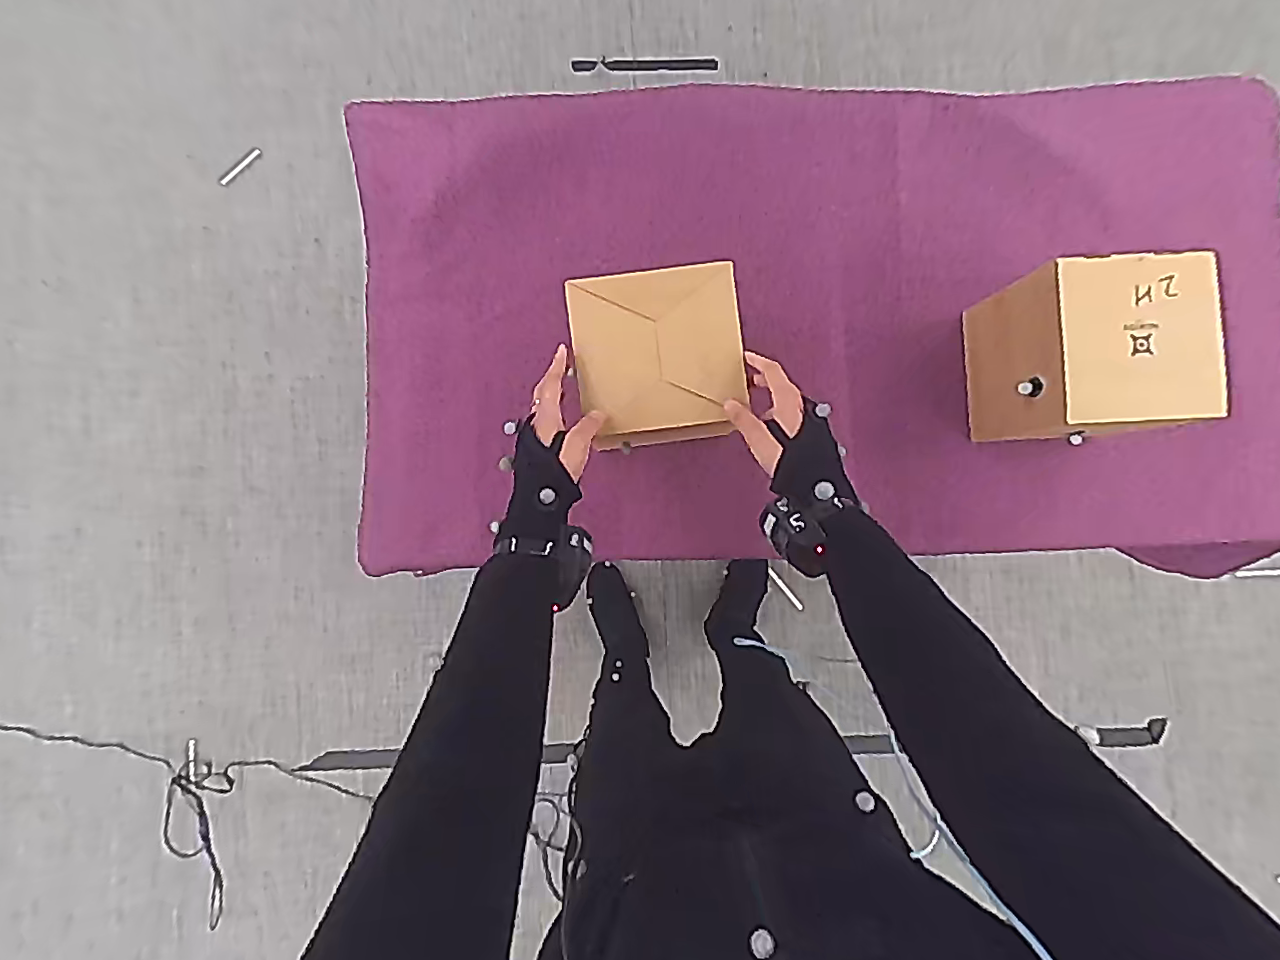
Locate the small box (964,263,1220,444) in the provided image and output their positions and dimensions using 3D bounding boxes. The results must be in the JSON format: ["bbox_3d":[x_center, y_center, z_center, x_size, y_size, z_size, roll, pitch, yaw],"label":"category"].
[{"bbox_3d":[0.513,-0.134,0.639,0.168,0.176,0.179,-2,88,0],"label":"small box"}]
